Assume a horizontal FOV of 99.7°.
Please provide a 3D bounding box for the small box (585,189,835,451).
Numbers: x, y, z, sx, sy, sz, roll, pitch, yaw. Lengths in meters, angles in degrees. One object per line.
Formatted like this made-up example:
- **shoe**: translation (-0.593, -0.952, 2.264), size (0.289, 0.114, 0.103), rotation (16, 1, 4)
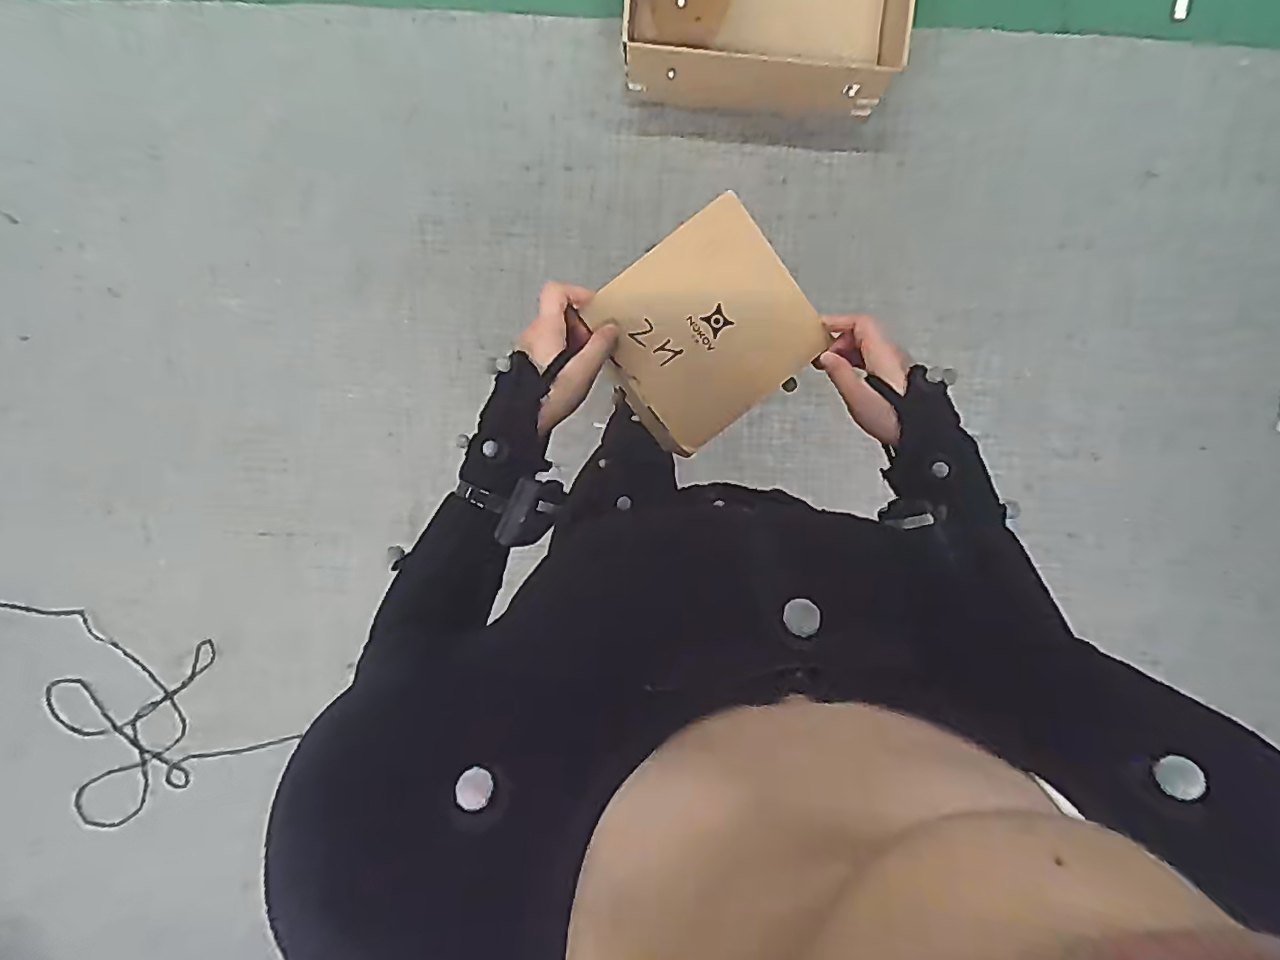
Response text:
- **small box**: translation (0.057, -0.150, 0.561), size (0.179, 0.176, 0.168), rotation (-38, 98, 0)

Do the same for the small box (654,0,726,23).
- **small box**: translation (0.117, -1.145, 1.175), size (0.168, 0.176, 0.179), rotation (4, 98, 0)
